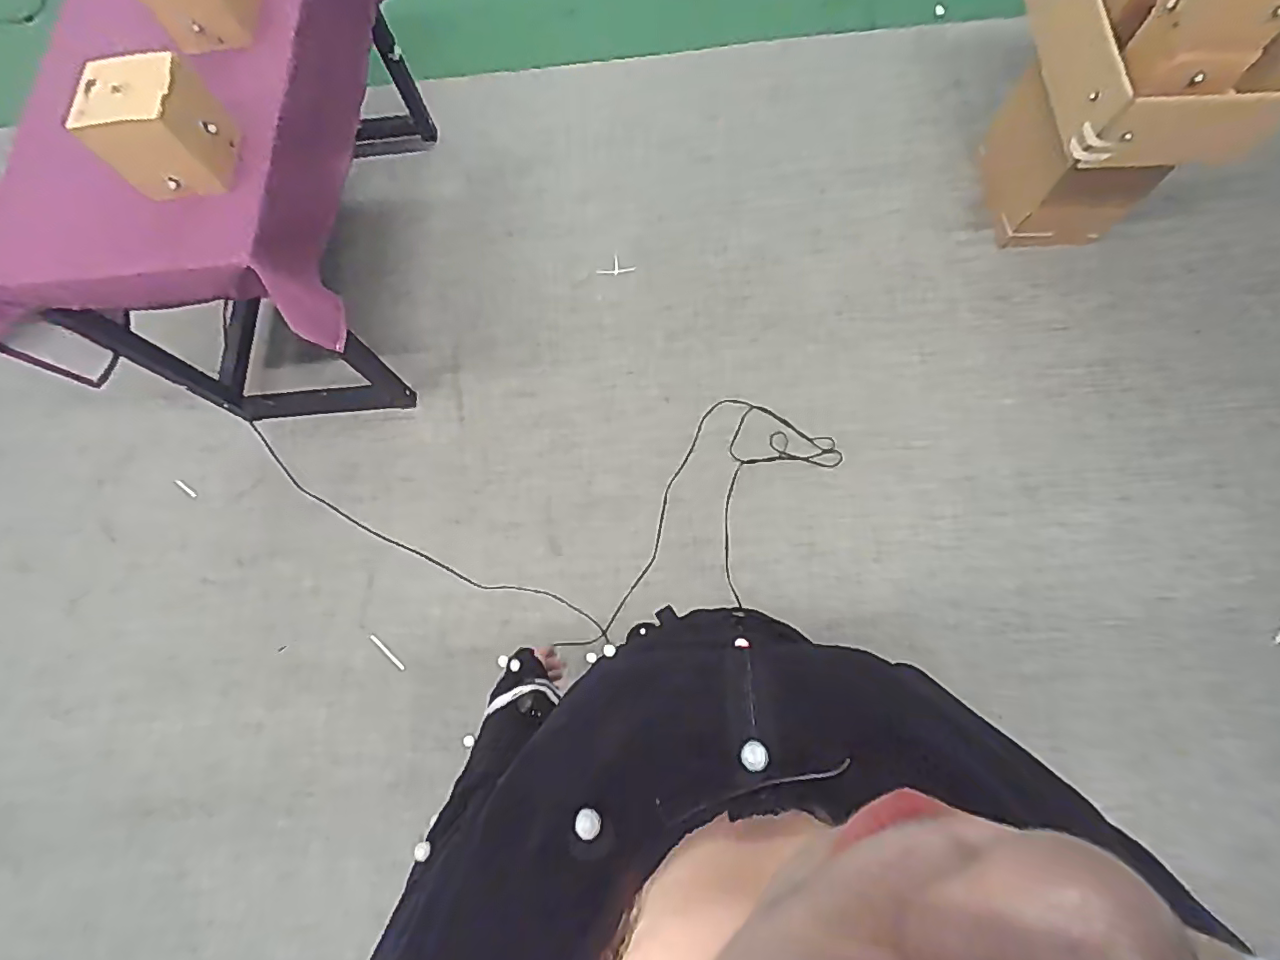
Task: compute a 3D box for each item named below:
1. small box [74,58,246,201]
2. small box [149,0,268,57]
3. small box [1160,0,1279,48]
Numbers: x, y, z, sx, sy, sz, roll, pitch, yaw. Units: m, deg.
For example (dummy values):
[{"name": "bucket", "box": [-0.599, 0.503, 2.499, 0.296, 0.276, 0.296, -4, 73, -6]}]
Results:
[{"name": "small box", "box": [-0.927, -0.680, 1.064, 0.179, 0.176, 0.168, -4, 72, 3]}, {"name": "small box", "box": [-0.963, -1.082, 1.189, 0.168, 0.176, 0.179, -3, 73, 5]}, {"name": "small box", "box": [1.223, -1.018, 1.091, 0.179, 0.176, 0.168, 1, 73, 7]}]
